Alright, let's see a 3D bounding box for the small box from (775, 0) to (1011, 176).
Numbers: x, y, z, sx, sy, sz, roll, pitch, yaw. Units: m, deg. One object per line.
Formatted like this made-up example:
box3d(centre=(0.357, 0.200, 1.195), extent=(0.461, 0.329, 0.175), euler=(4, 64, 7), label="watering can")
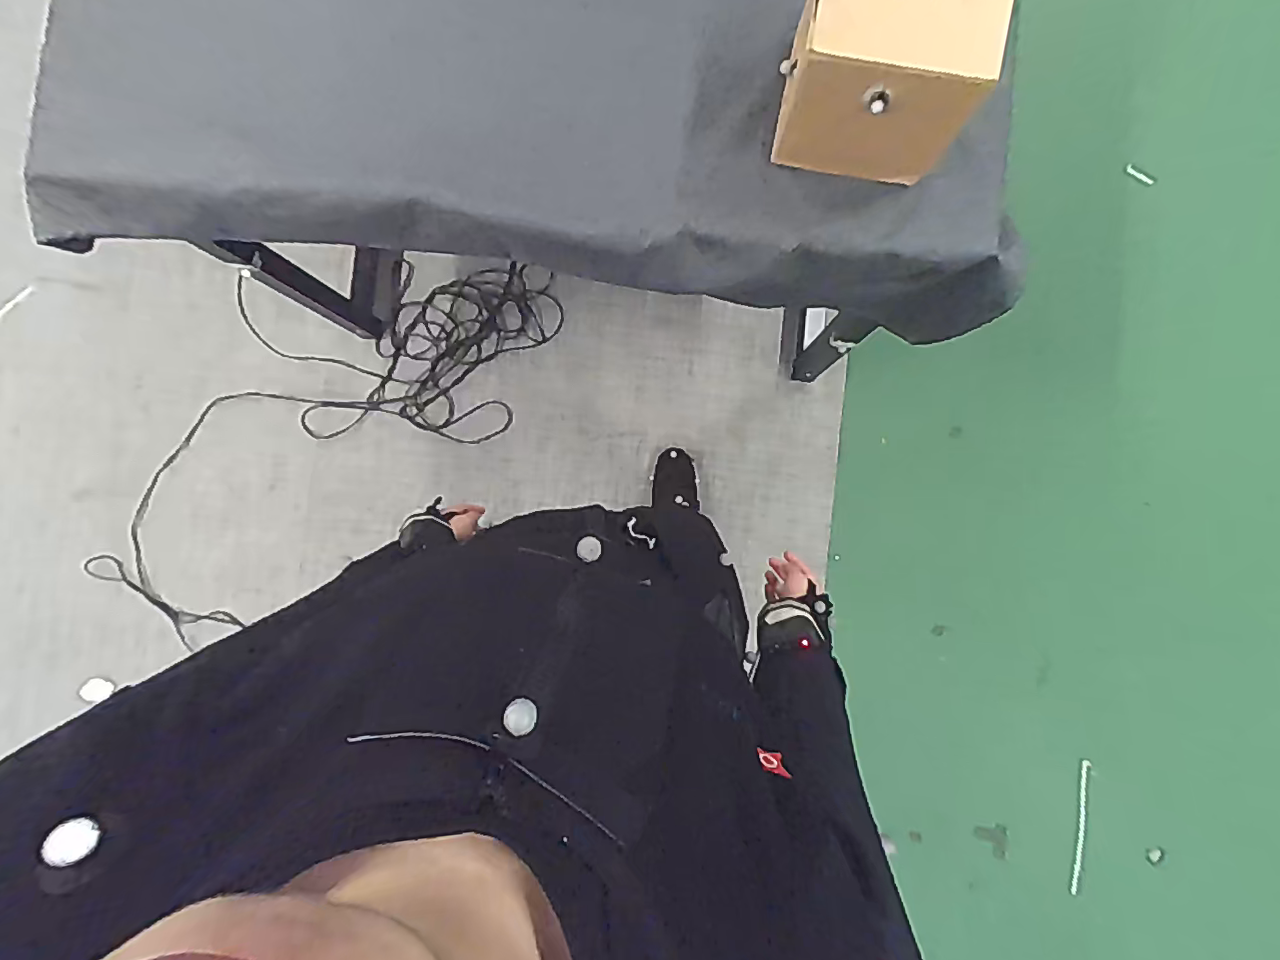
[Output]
box3d(centre=(0.253, -0.453, 0.568), extent=(0.179, 0.176, 0.168), euler=(11, 89, 2), label="small box")
